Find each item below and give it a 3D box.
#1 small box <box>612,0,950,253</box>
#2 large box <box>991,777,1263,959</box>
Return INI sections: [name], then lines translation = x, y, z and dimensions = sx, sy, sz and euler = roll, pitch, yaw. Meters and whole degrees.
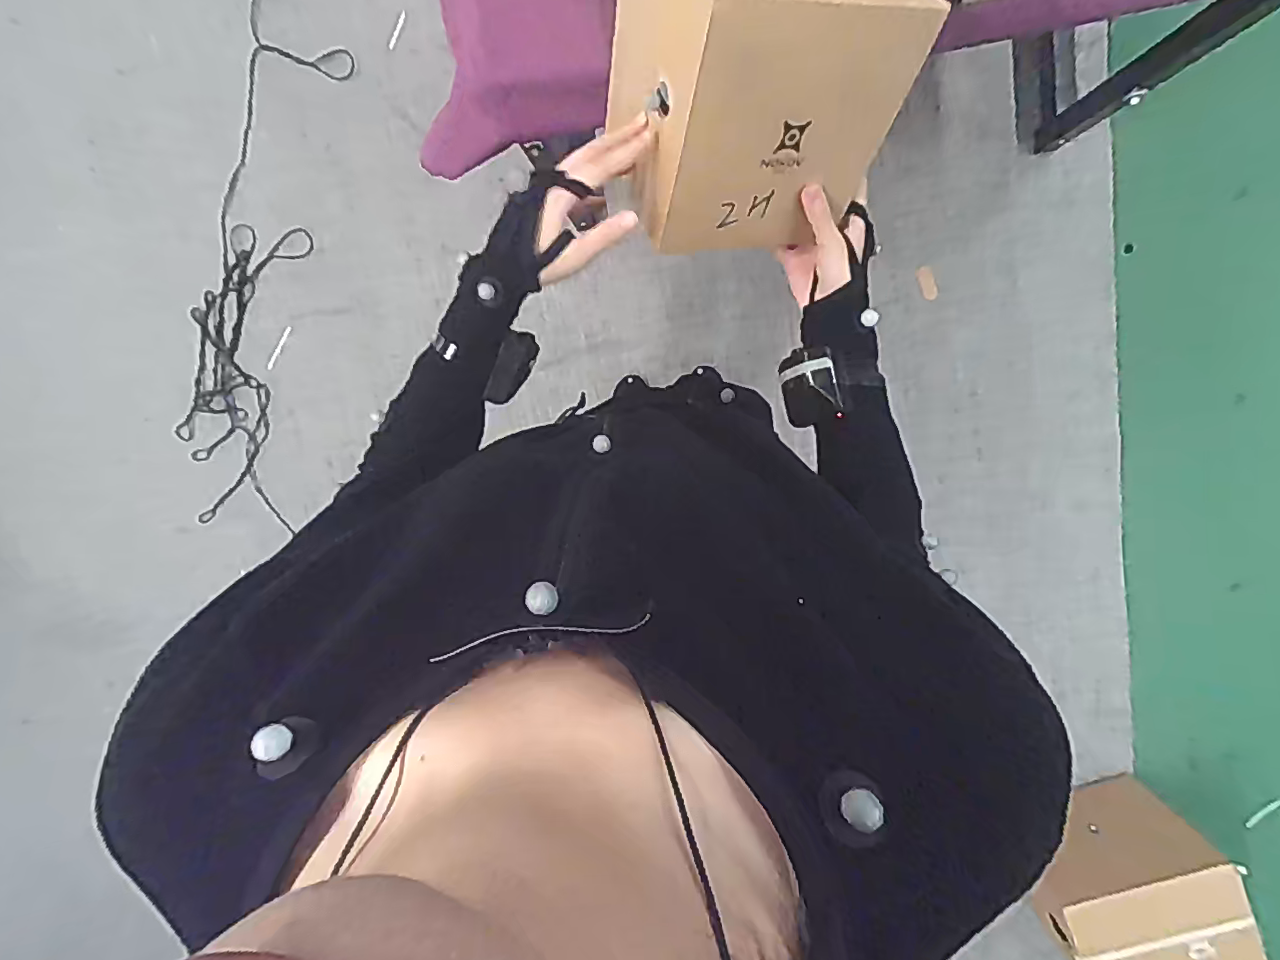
[small box]
translation = 0.083, -0.309, 0.422
dimensions = 0.168, 0.179, 0.176
euler = -11, 64, -16
[large box]
translation = 1.262, 1.082, 1.445
dimensions = 0.408, 0.320, 0.320
euler = -23, 98, 7
